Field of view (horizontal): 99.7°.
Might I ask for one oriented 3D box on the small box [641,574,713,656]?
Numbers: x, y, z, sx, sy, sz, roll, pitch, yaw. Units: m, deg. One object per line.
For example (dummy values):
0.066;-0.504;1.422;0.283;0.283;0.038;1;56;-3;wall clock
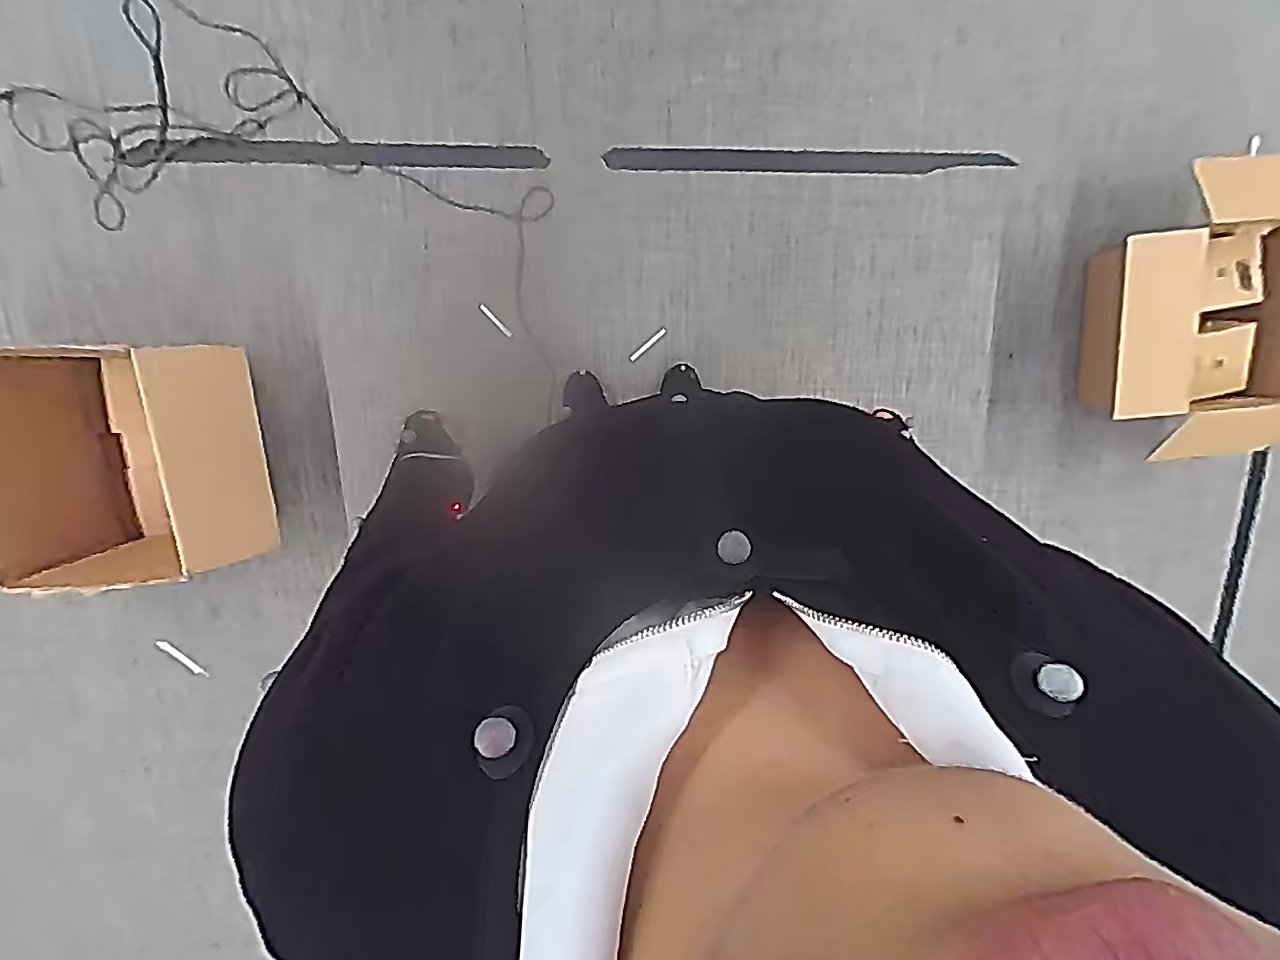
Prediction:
0.093;0.356;1.447;0.179;0.176;0.168;0;99;-1;small box
